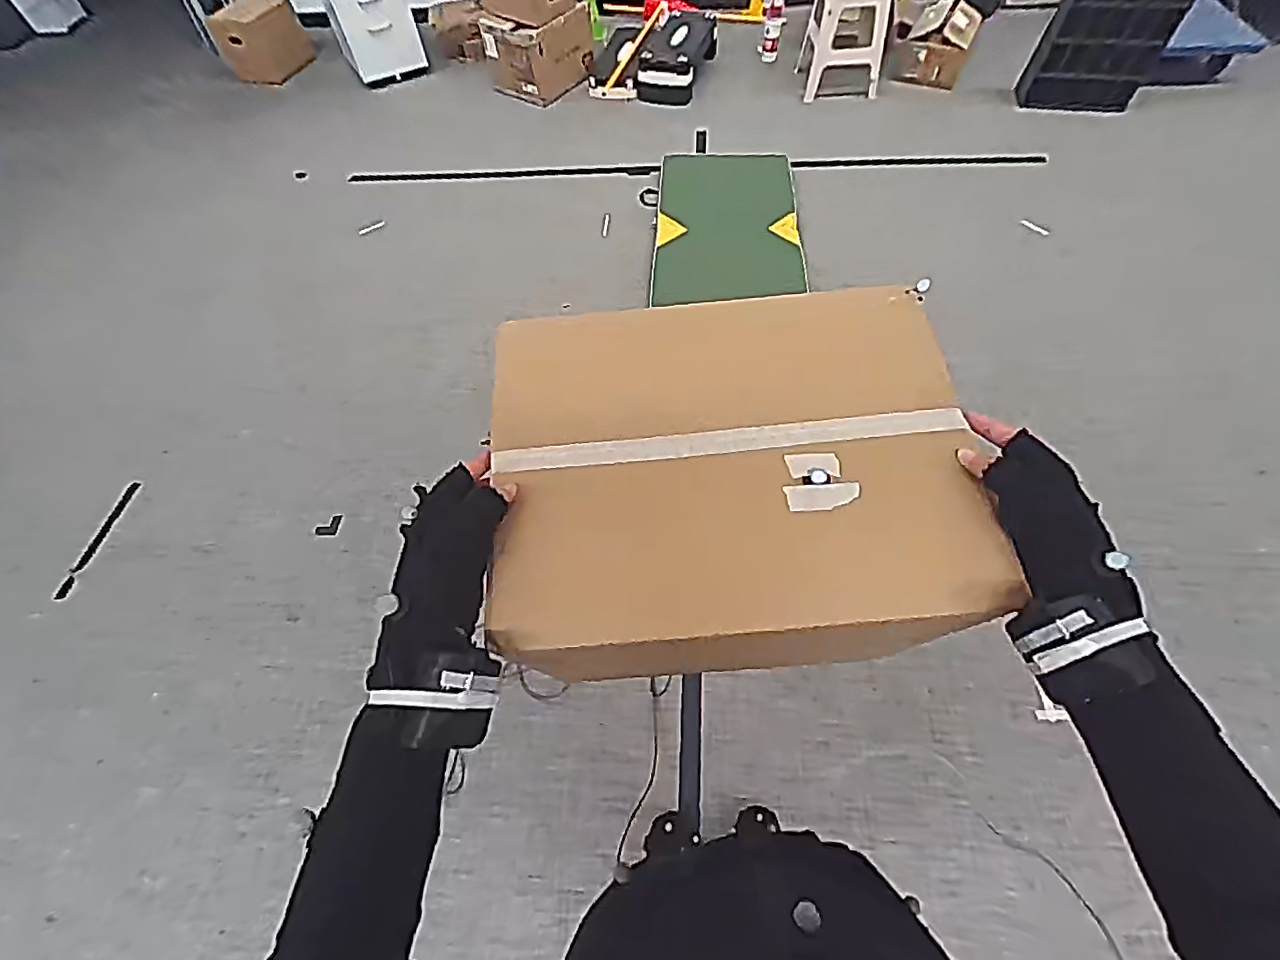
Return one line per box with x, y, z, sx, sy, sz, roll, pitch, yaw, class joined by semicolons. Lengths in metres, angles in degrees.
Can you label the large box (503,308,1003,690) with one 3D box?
0.080;0.046;0.618;0.408;0.320;0.320;-5;65;0;large box
